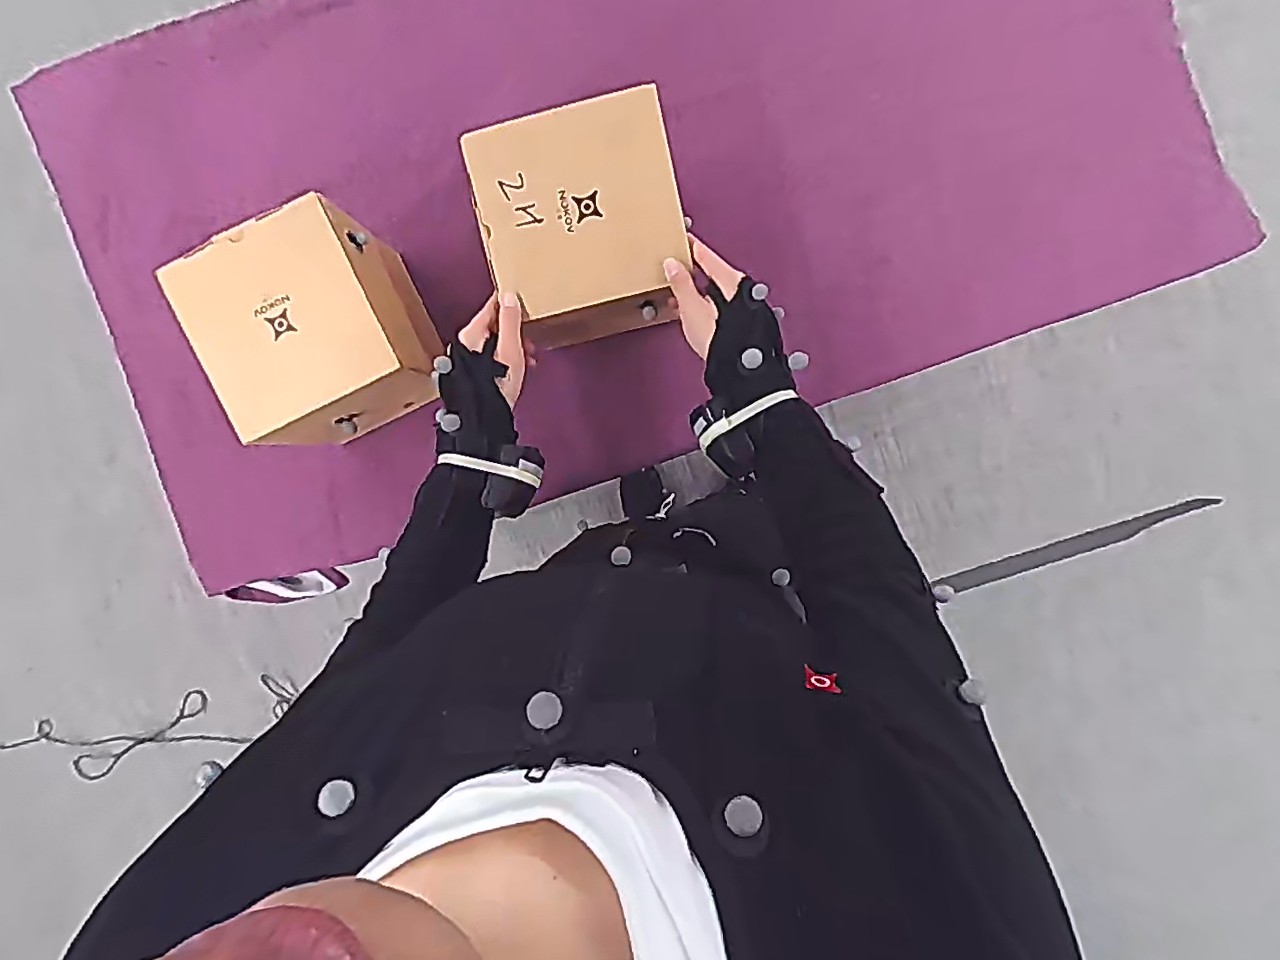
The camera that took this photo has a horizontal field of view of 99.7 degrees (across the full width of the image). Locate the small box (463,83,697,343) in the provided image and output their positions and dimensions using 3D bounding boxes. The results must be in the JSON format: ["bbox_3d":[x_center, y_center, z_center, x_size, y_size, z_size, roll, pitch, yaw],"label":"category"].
[{"bbox_3d":[-0.048,-0.244,0.541,0.179,0.176,0.168,-12,95,4],"label":"small box"}]

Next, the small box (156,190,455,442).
[{"bbox_3d":[-0.323,-0.151,0.564,0.168,0.176,0.179,-26,92,2],"label":"small box"}]
